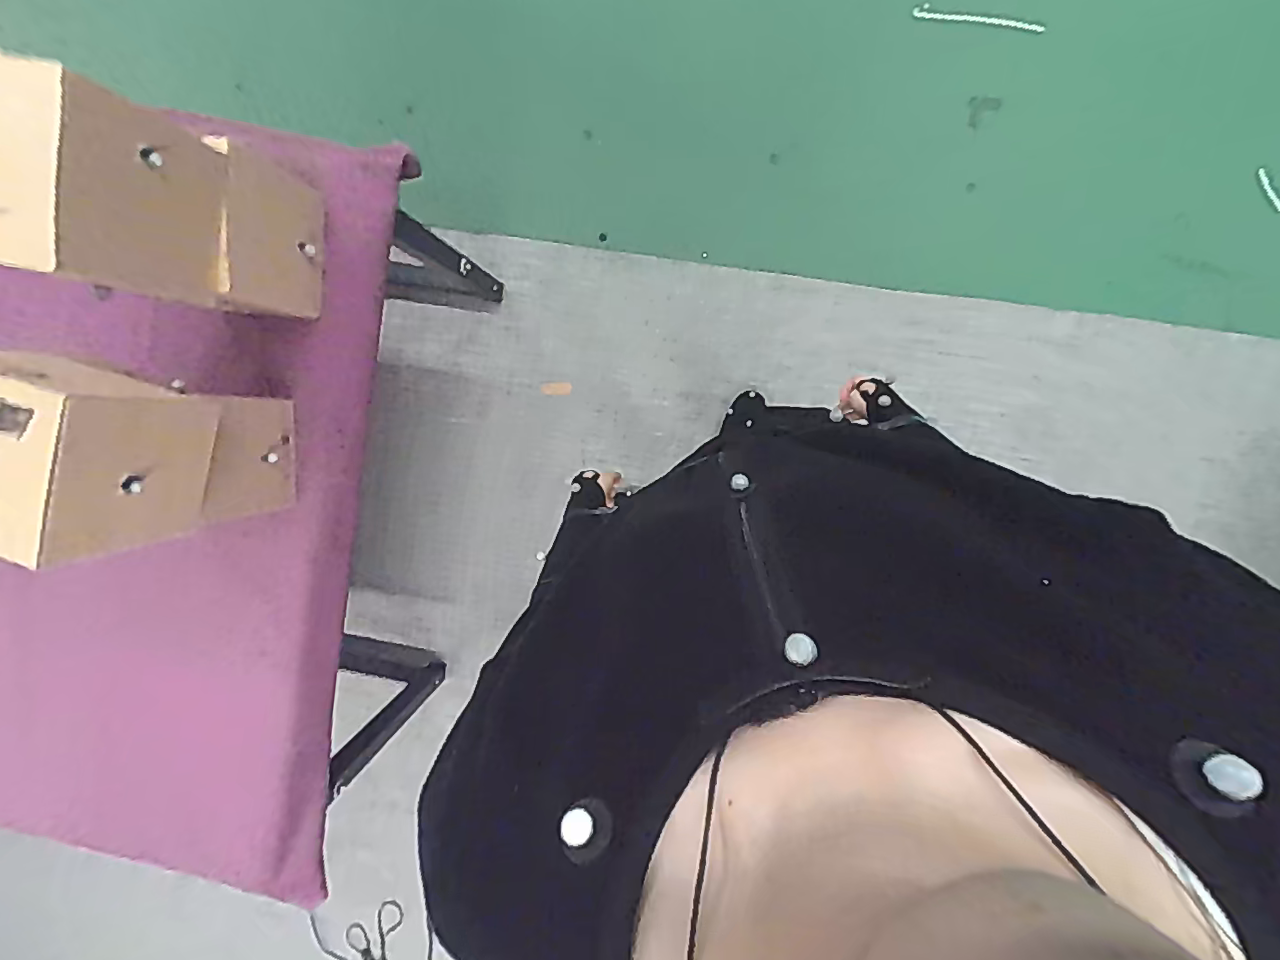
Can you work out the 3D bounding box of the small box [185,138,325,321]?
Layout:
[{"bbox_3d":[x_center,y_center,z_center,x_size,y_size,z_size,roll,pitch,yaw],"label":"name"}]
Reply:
[{"bbox_3d":[-0.547,-0.320,0.715,0.168,0.176,0.179,6,97,5],"label":"small box"}]

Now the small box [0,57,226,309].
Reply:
[{"bbox_3d":[-0.572,-0.292,0.555,0.168,0.176,0.179,12,98,4],"label":"small box"}]

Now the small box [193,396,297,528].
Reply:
[{"bbox_3d":[-0.619,-0.034,0.753,0.179,0.176,0.168,4,97,5],"label":"small box"}]

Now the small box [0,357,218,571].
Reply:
[{"bbox_3d":[-0.610,-0.028,0.587,0.168,0.176,0.179,19,99,4],"label":"small box"}]
